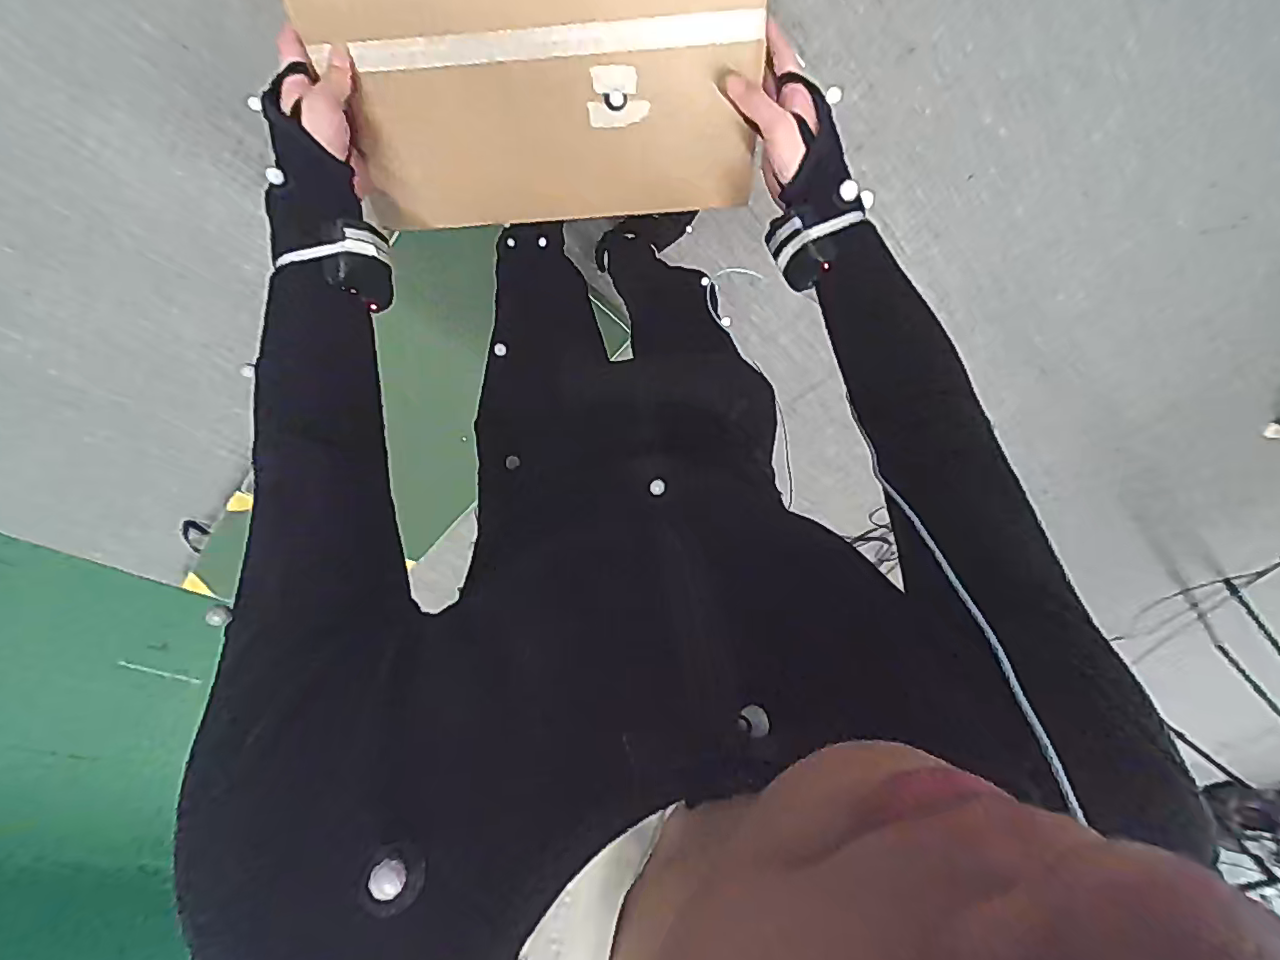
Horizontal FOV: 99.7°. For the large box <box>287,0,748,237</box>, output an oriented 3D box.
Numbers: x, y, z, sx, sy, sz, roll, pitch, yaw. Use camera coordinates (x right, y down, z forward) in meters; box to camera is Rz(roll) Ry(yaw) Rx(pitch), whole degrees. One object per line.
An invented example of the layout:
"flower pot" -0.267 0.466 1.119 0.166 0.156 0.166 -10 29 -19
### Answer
"large box" -0.110 -0.503 0.591 0.408 0.320 0.320 -5 139 1
